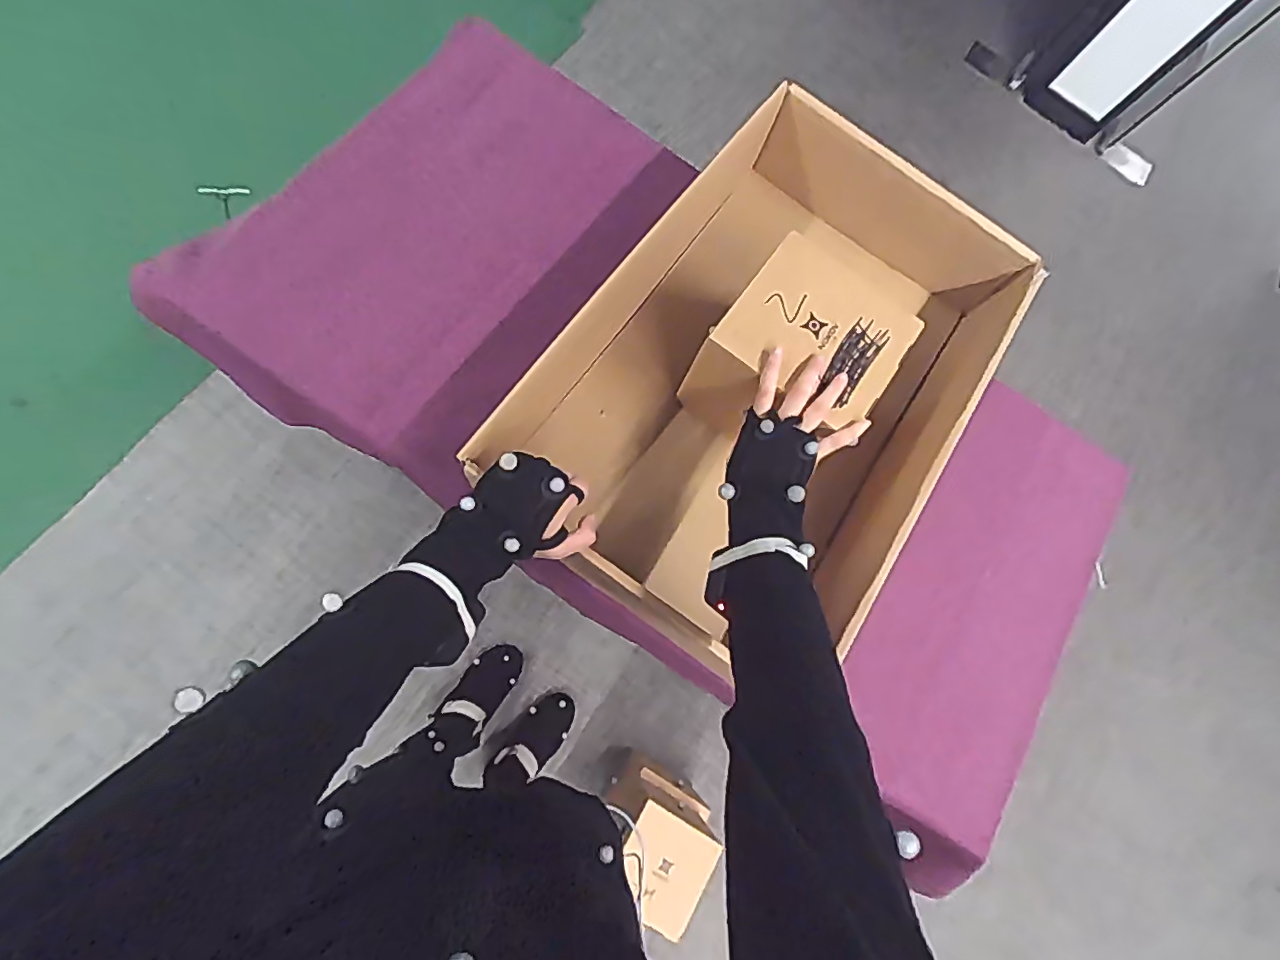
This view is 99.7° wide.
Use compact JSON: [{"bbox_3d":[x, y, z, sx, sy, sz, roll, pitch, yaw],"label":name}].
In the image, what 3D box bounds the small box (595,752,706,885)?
[{"bbox_3d":[0.016,0.739,1.207,0.179,0.176,0.168,34,74,0],"label":"small box"}]
